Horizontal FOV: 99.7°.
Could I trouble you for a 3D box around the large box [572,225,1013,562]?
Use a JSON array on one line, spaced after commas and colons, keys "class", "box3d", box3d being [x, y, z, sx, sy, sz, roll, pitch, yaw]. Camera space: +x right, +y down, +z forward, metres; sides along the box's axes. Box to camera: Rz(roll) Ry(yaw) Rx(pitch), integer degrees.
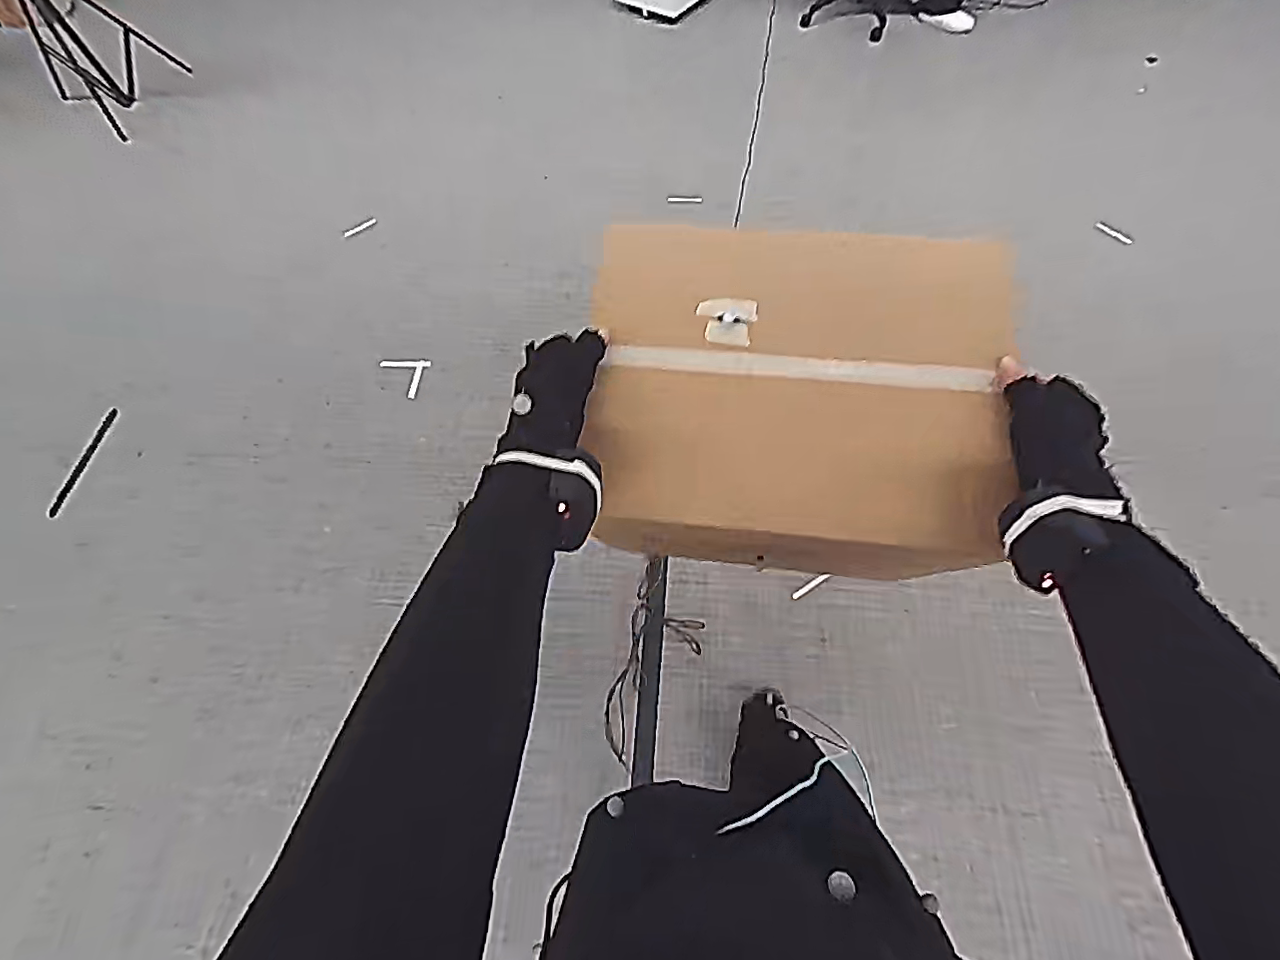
[{"class": "large box", "box3d": [0.164, -0.079, 0.672, 0.408, 0.320, 0.320, 6, 76, 8]}]
